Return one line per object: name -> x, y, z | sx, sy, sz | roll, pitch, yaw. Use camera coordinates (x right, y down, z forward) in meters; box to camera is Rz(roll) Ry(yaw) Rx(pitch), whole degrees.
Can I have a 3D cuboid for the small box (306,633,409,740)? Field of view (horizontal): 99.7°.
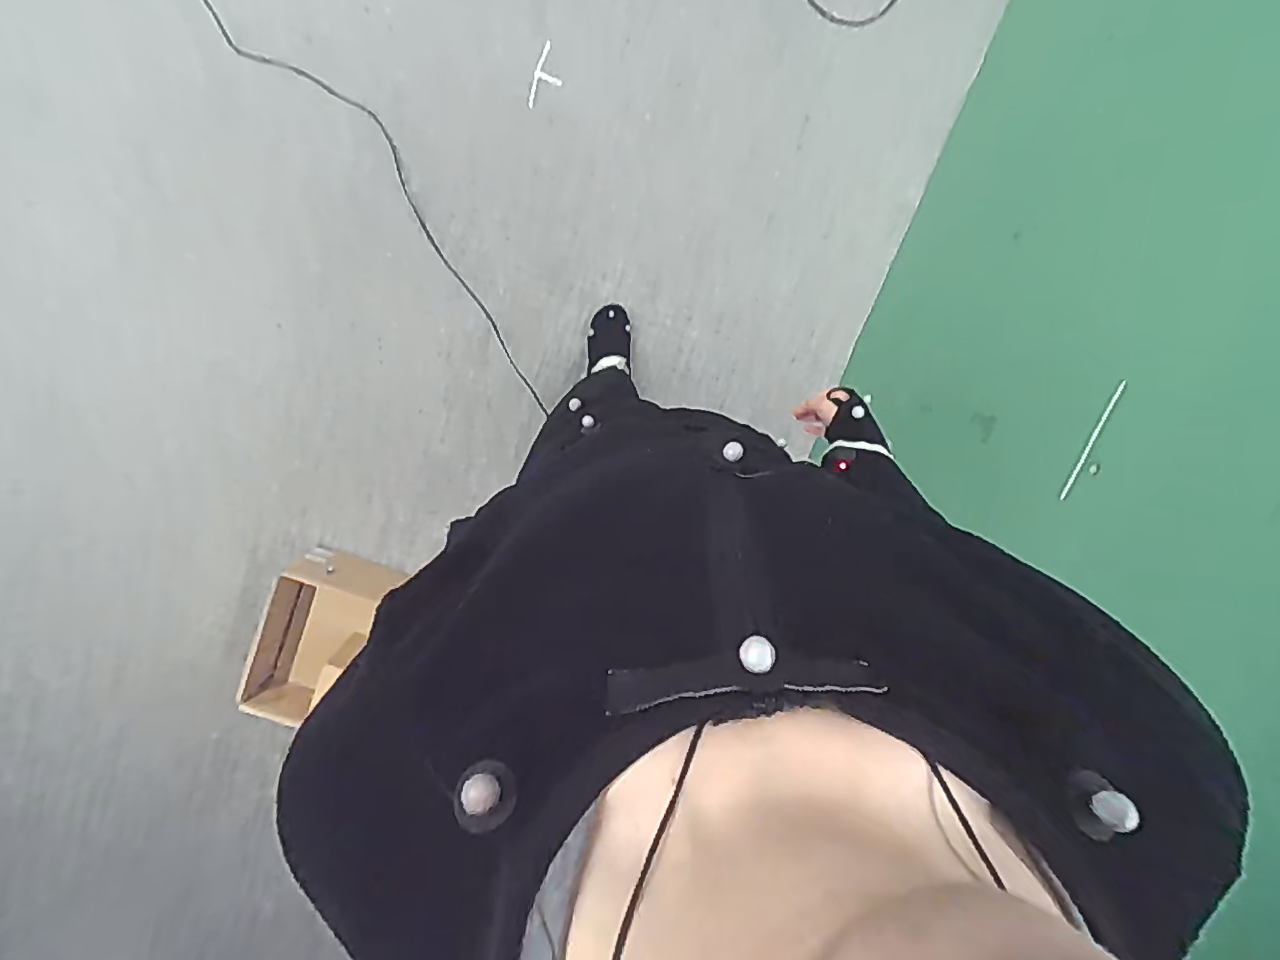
small box -> -0.734, 0.538, 1.425 | 0.168, 0.176, 0.179 | 22, 99, -9
